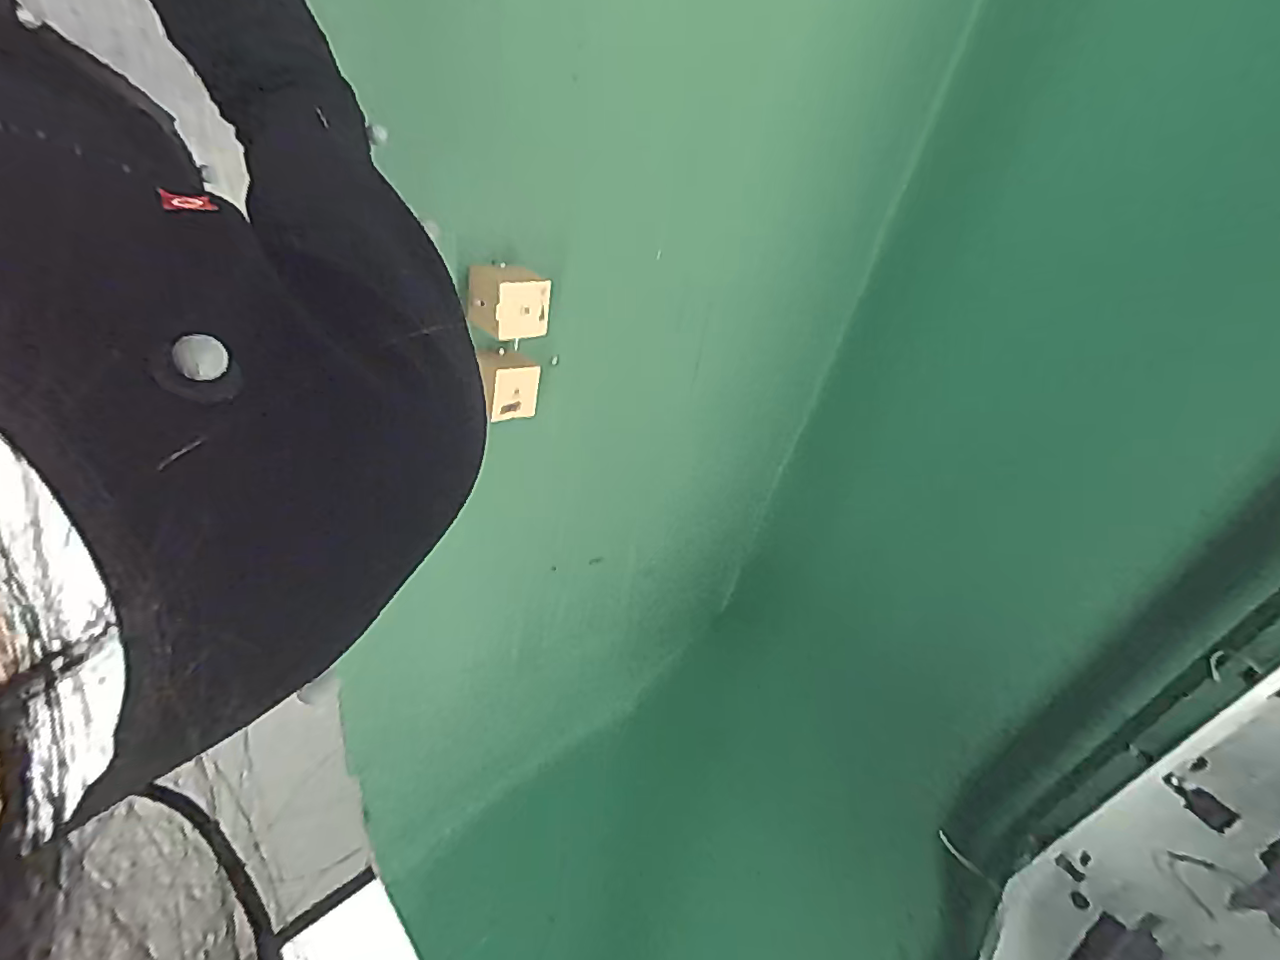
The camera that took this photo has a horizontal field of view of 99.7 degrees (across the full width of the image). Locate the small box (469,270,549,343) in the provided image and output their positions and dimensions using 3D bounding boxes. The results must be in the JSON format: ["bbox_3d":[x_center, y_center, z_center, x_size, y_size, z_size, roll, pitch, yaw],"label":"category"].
[{"bbox_3d":[-0.398,-0.524,1.623,0.179,0.176,0.168,-19,134,-40],"label":"small box"}]

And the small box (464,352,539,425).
[{"bbox_3d":[-0.455,-0.301,1.759,0.168,0.176,0.179,-17,132,-43],"label":"small box"}]
